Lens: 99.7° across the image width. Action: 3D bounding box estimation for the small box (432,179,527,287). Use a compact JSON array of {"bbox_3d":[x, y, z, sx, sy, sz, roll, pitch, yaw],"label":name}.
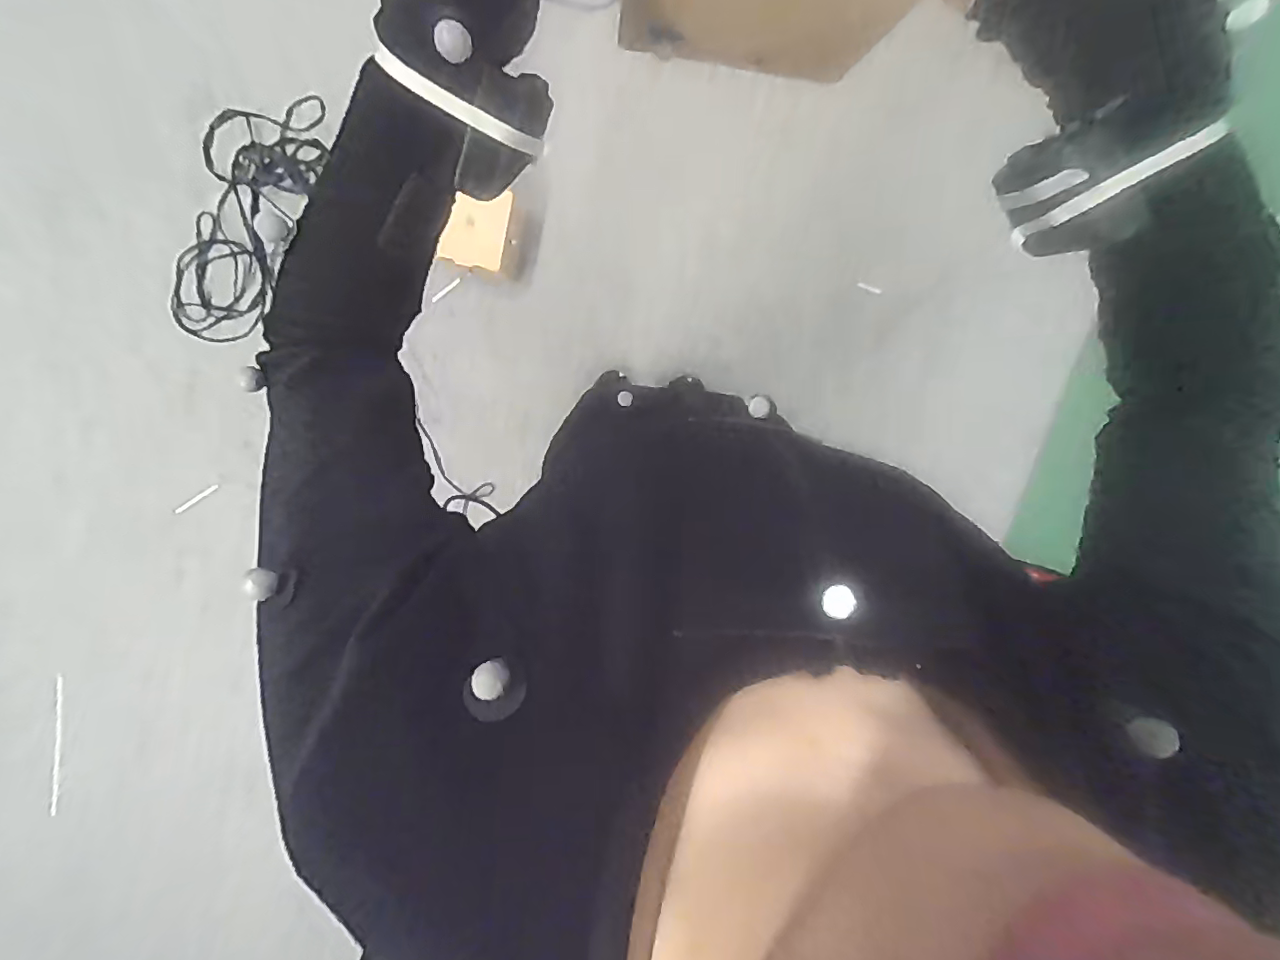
[{"bbox_3d":[-0.374,-0.577,1.288,0.168,0.176,0.179,13,100,-3],"label":"small box"}]
